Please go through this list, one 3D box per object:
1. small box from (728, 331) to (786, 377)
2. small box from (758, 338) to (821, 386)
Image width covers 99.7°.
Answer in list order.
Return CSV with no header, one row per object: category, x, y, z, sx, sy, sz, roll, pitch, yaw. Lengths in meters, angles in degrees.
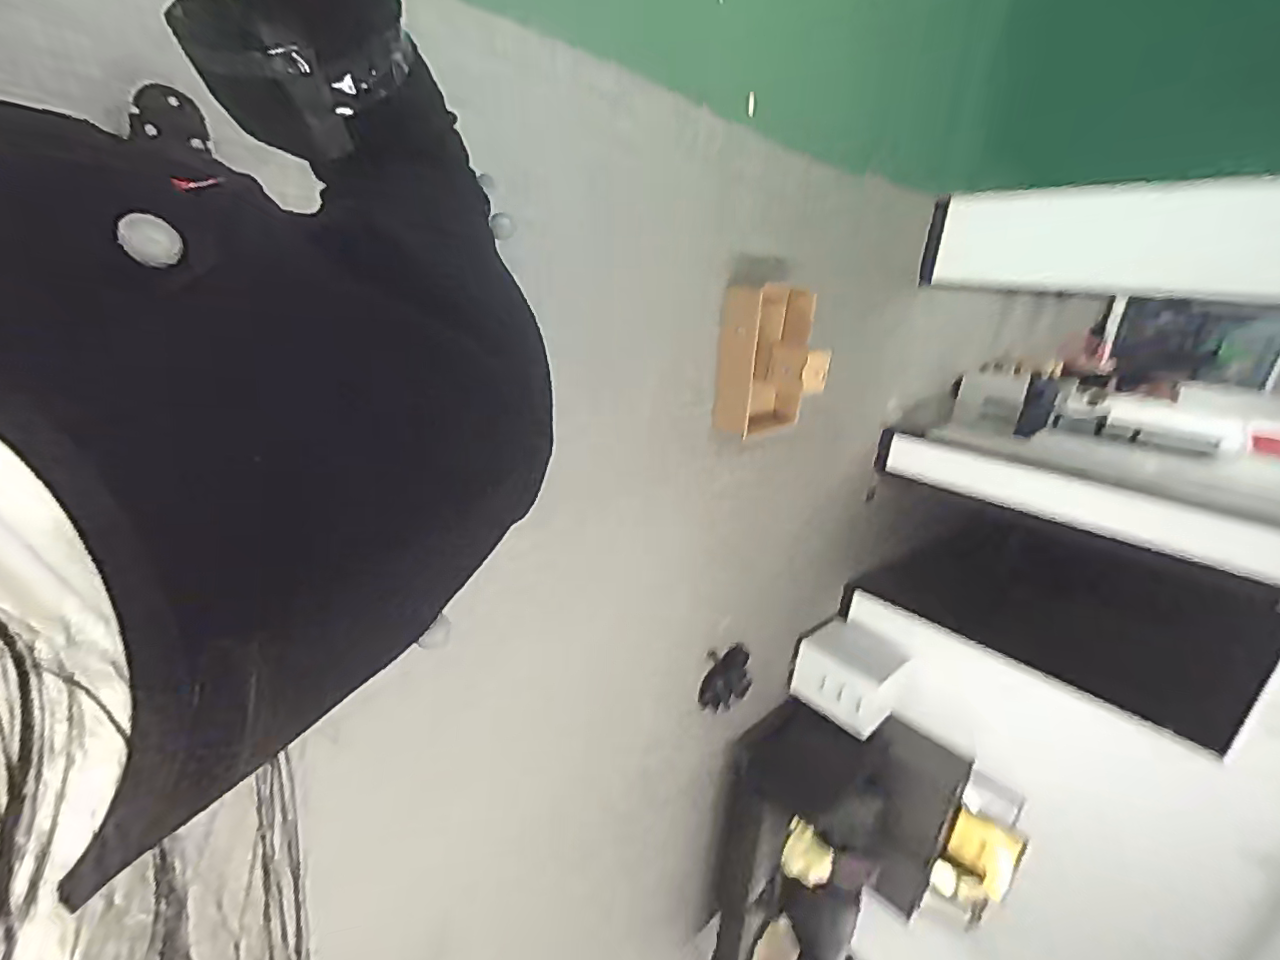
small box,0.490,-0.536,2.288,0.179,0.176,0.168,-18,120,-42
small box,0.597,-0.479,2.178,0.179,0.176,0.168,-14,117,-42
